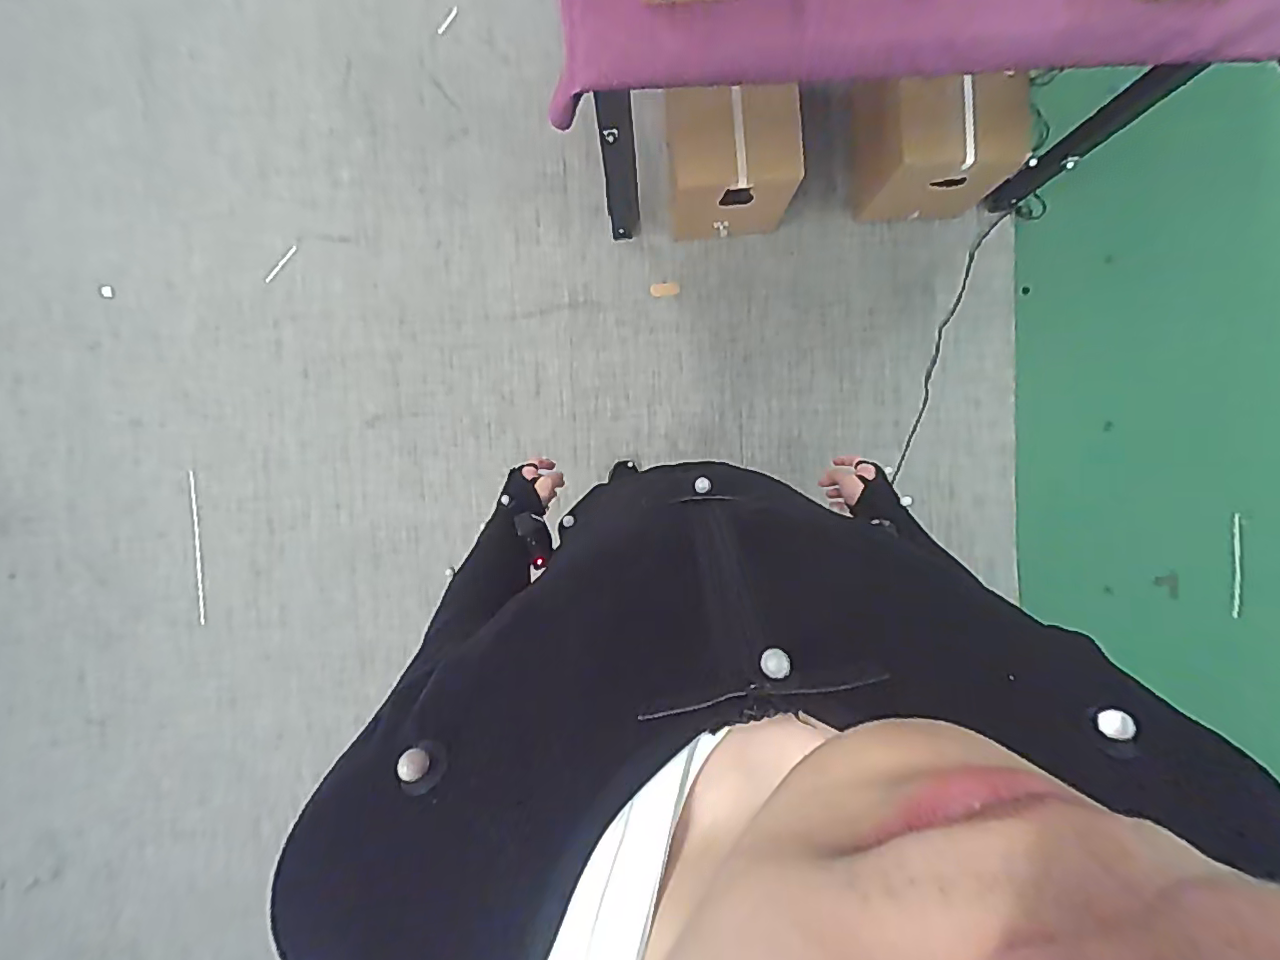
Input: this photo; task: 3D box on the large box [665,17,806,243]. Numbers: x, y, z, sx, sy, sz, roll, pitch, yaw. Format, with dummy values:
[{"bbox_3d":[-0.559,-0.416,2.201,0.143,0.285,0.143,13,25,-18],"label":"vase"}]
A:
[{"bbox_3d":[0.239,-0.920,1.470,0.320,0.320,0.408,-5,90,0],"label":"large box"}]
